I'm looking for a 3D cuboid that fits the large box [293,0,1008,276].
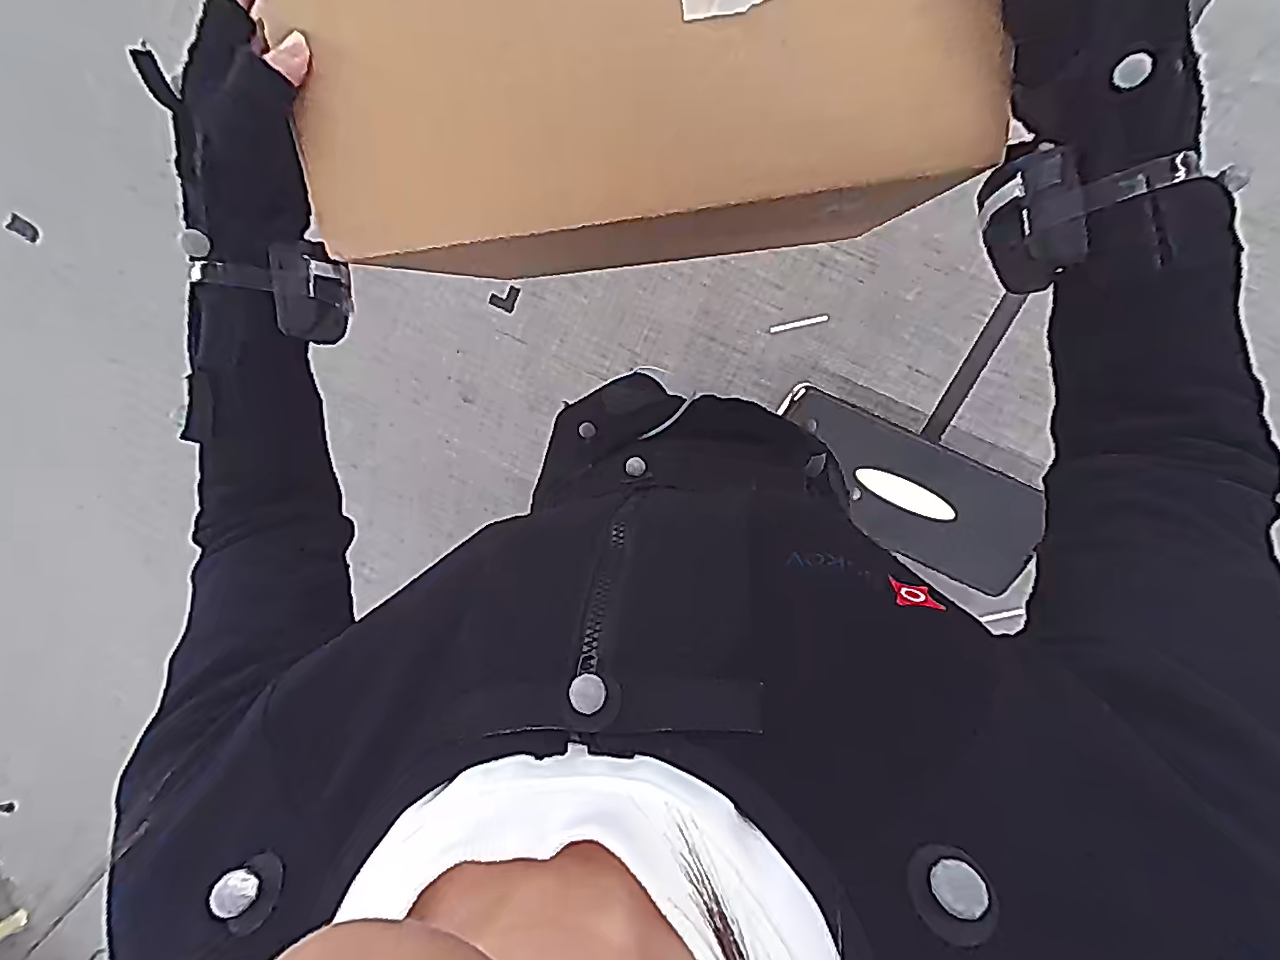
[{"bbox_3d":[0.005,-0.359,0.430,0.408,0.320,0.320,-4,108,9],"label":"large box"}]
